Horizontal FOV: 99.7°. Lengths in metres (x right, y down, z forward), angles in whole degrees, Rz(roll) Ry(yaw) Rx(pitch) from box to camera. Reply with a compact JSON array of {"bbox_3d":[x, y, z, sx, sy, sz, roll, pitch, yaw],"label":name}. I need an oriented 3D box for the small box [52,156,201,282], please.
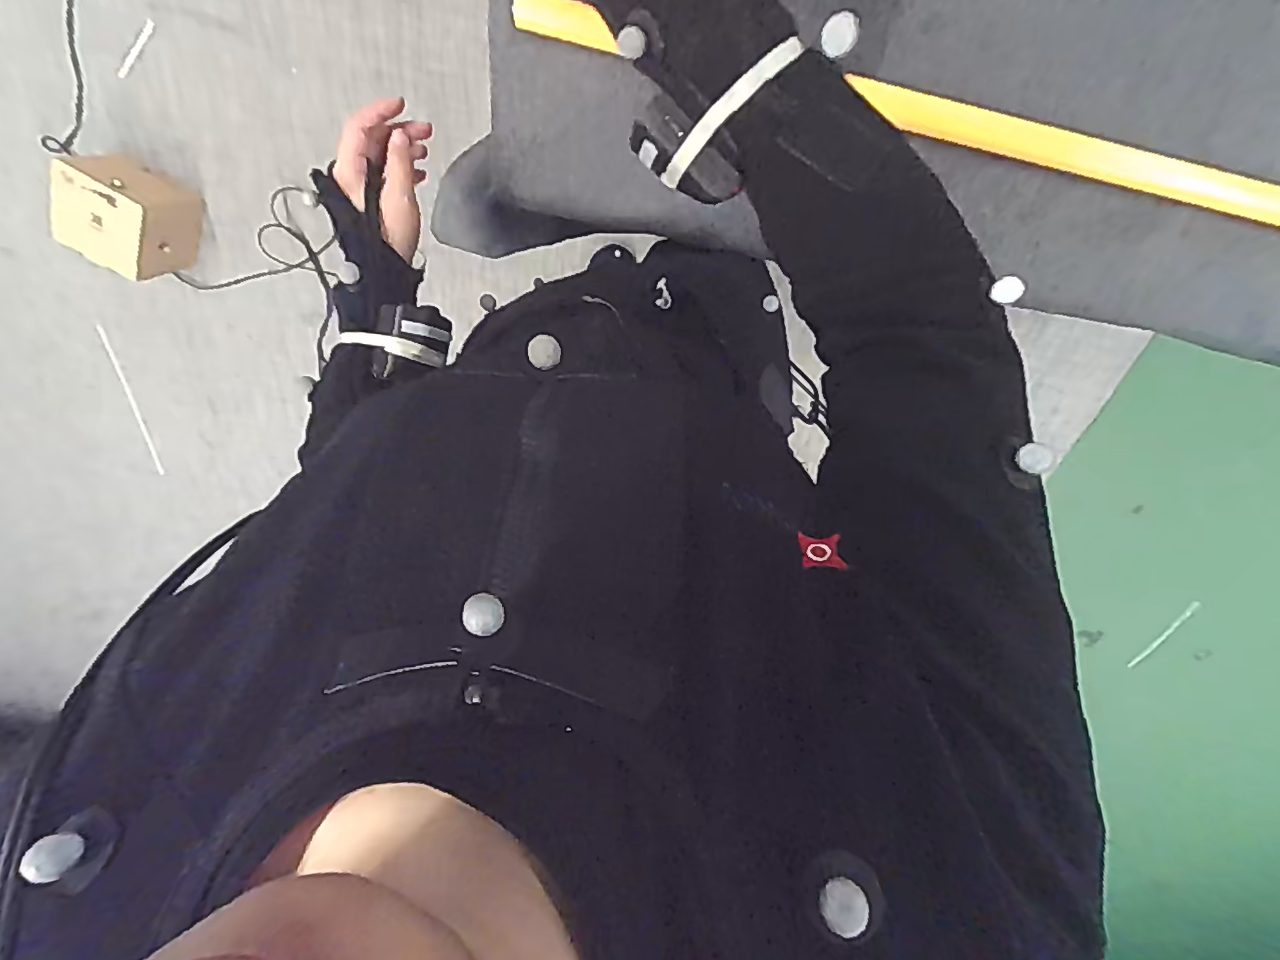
[{"bbox_3d":[-1.090,-0.561,1.159,0.168,0.176,0.179,30,120,-13],"label":"small box"}]
